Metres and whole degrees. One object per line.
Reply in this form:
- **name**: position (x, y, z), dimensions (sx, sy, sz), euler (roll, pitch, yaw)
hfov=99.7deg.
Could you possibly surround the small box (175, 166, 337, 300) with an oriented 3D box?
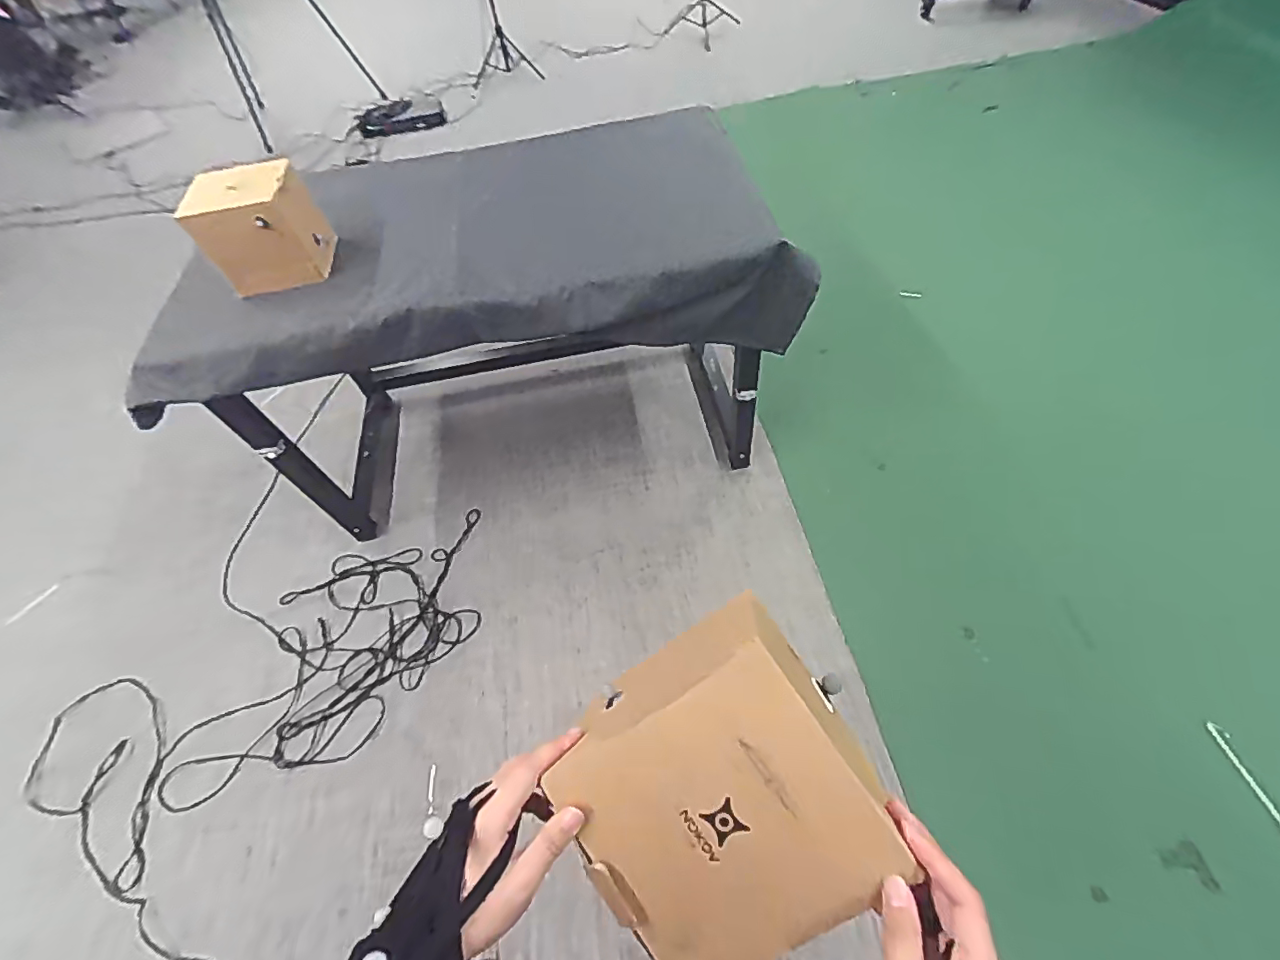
- **small box**: position (-0.729, -0.473, 1.048), dimensions (0.179, 0.176, 0.168), euler (-12, 54, -3)
